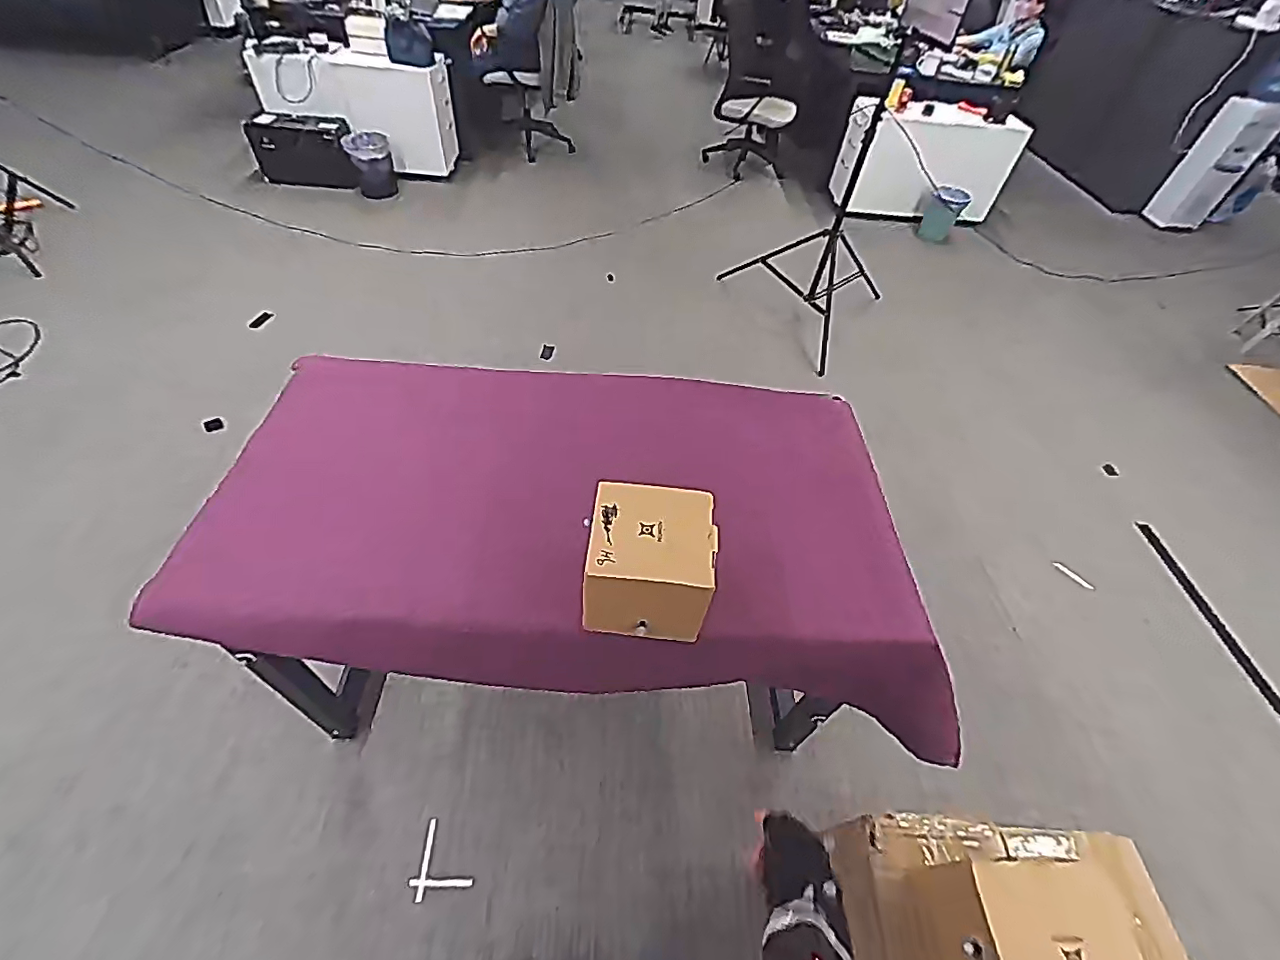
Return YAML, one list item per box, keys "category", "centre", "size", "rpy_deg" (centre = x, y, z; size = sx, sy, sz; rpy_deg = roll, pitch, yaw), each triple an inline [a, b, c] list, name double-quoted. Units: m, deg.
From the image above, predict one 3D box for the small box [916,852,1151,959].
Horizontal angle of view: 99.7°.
- category: "small box"
  centre: [0.459, 0.557, 0.637]
  size: [0.168, 0.176, 0.179]
  rpy_deg: [2, 50, -2]

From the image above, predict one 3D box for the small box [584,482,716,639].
- category: "small box"
  centre: [0.013, 0.128, 0.826]
  size: [0.179, 0.176, 0.168]
  rpy_deg: [7, 48, -1]
